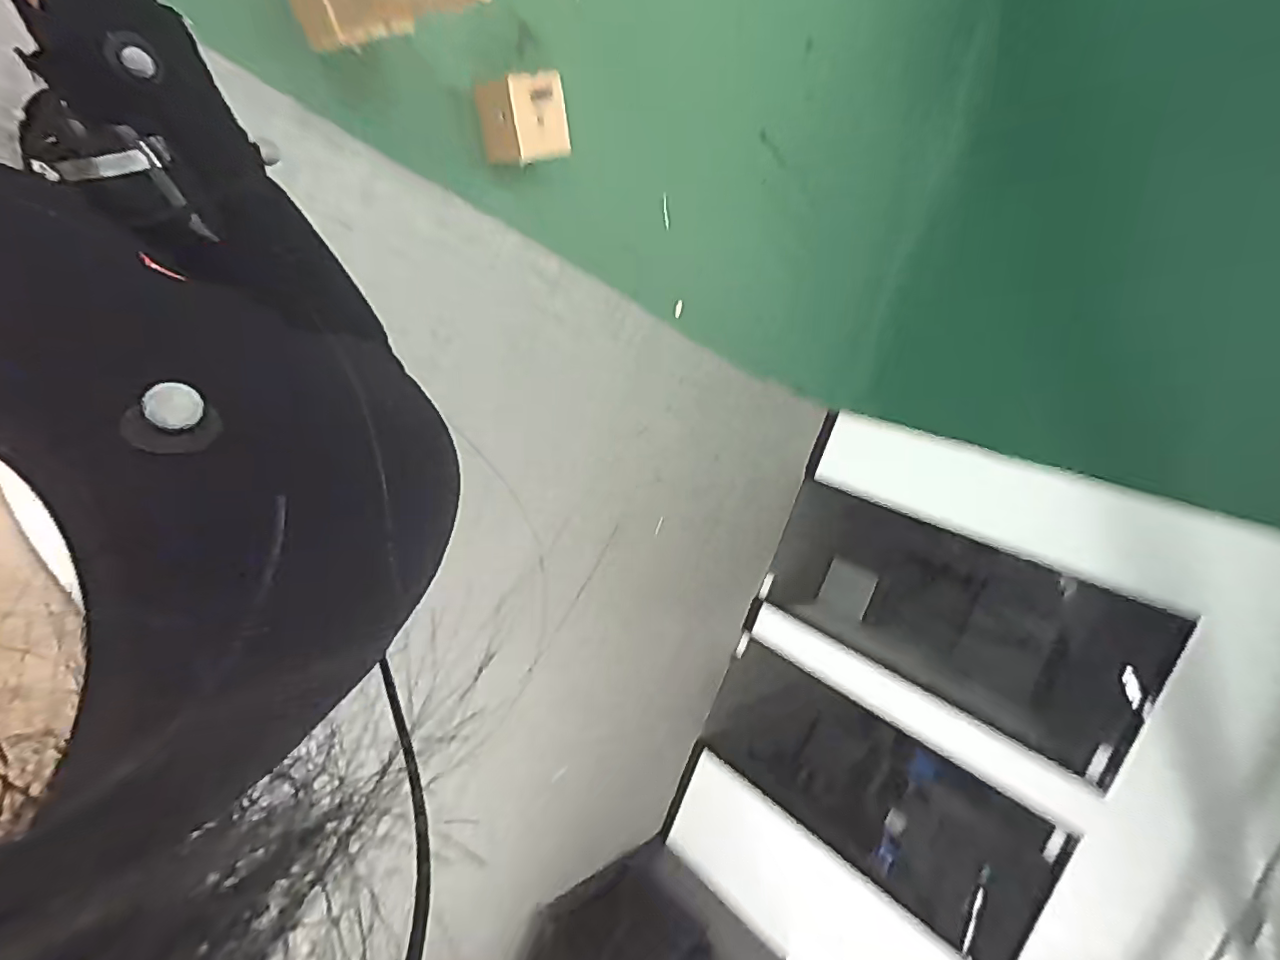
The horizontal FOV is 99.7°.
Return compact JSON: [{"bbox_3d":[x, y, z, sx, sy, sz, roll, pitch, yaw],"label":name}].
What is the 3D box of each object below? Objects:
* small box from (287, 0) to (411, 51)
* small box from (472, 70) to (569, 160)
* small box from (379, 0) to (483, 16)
[{"bbox_3d":[-0.597,-0.977,1.071,0.168,0.176,0.179,-40,136,-27],"label":"small box"},{"bbox_3d":[-0.313,-0.950,1.413,0.168,0.176,0.179,-35,135,-32],"label":"small box"},{"bbox_3d":[-0.362,-0.883,0.860,0.168,0.176,0.179,-22,126,-40],"label":"small box"}]
